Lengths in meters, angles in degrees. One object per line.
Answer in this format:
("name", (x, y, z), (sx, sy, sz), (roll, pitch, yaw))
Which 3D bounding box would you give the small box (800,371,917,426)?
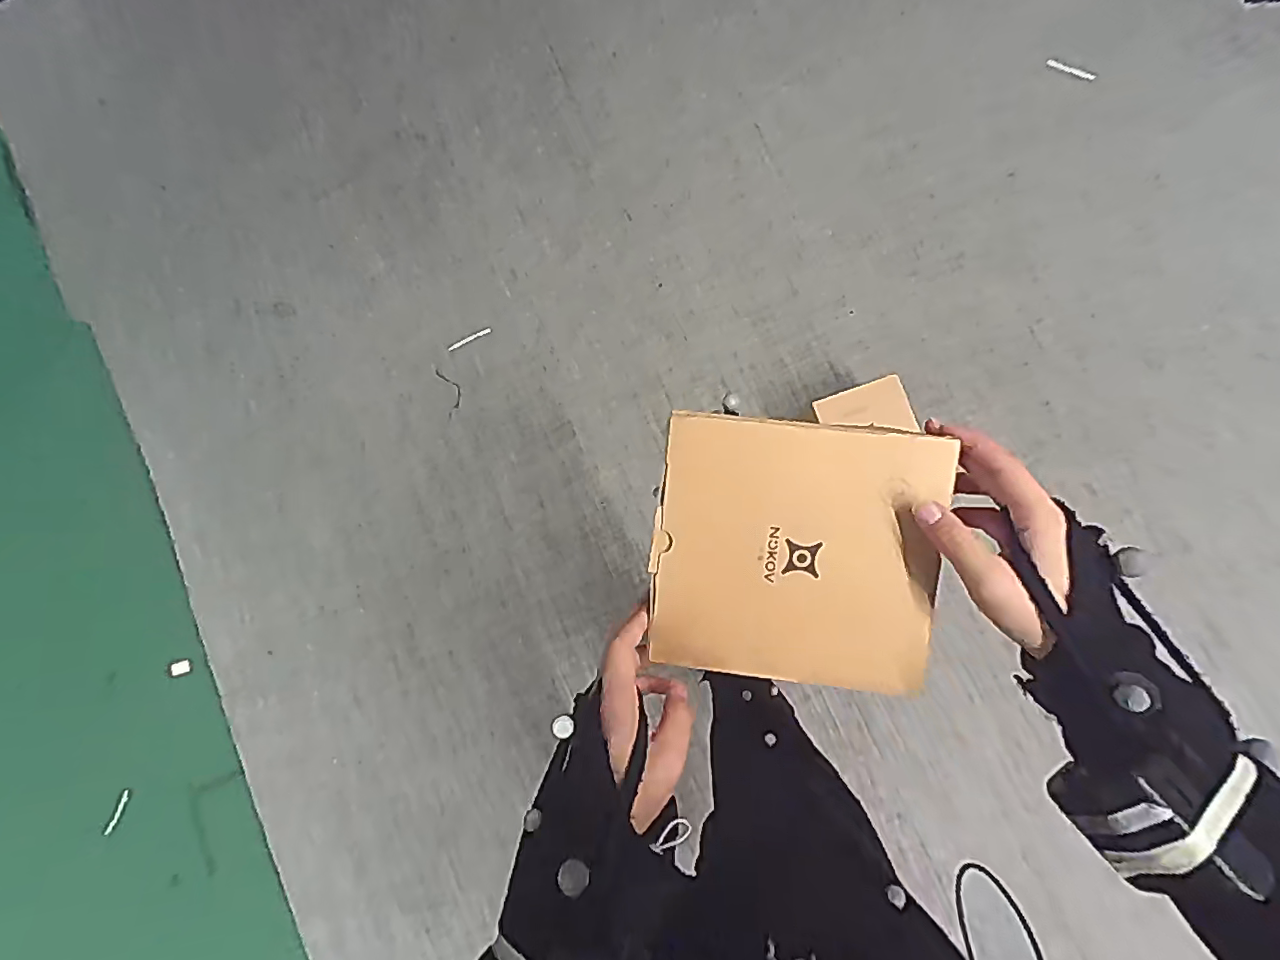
("small box", (0.426, -0.089, 1.068), (0.168, 0.176, 0.179), (-19, 84, 3))

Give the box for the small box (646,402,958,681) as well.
("small box", (0.105, 0.029, 0.417), (0.179, 0.176, 0.168), (6, 98, 7))
